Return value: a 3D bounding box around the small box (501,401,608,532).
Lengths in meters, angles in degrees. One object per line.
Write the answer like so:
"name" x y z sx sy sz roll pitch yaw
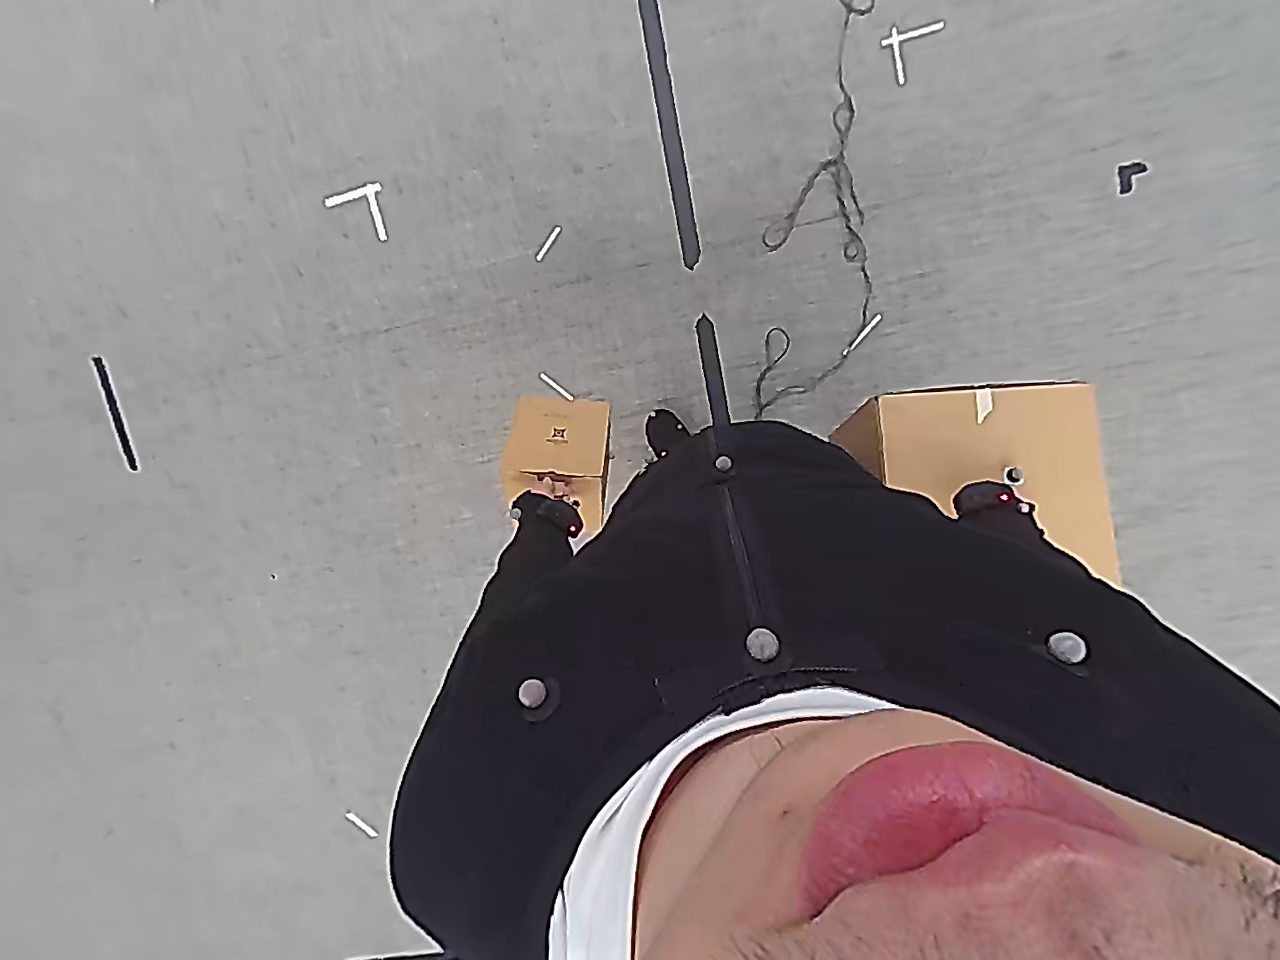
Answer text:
"small box" -0.147 -0.021 0.995 0.168 0.179 0.176 5 140 -2
